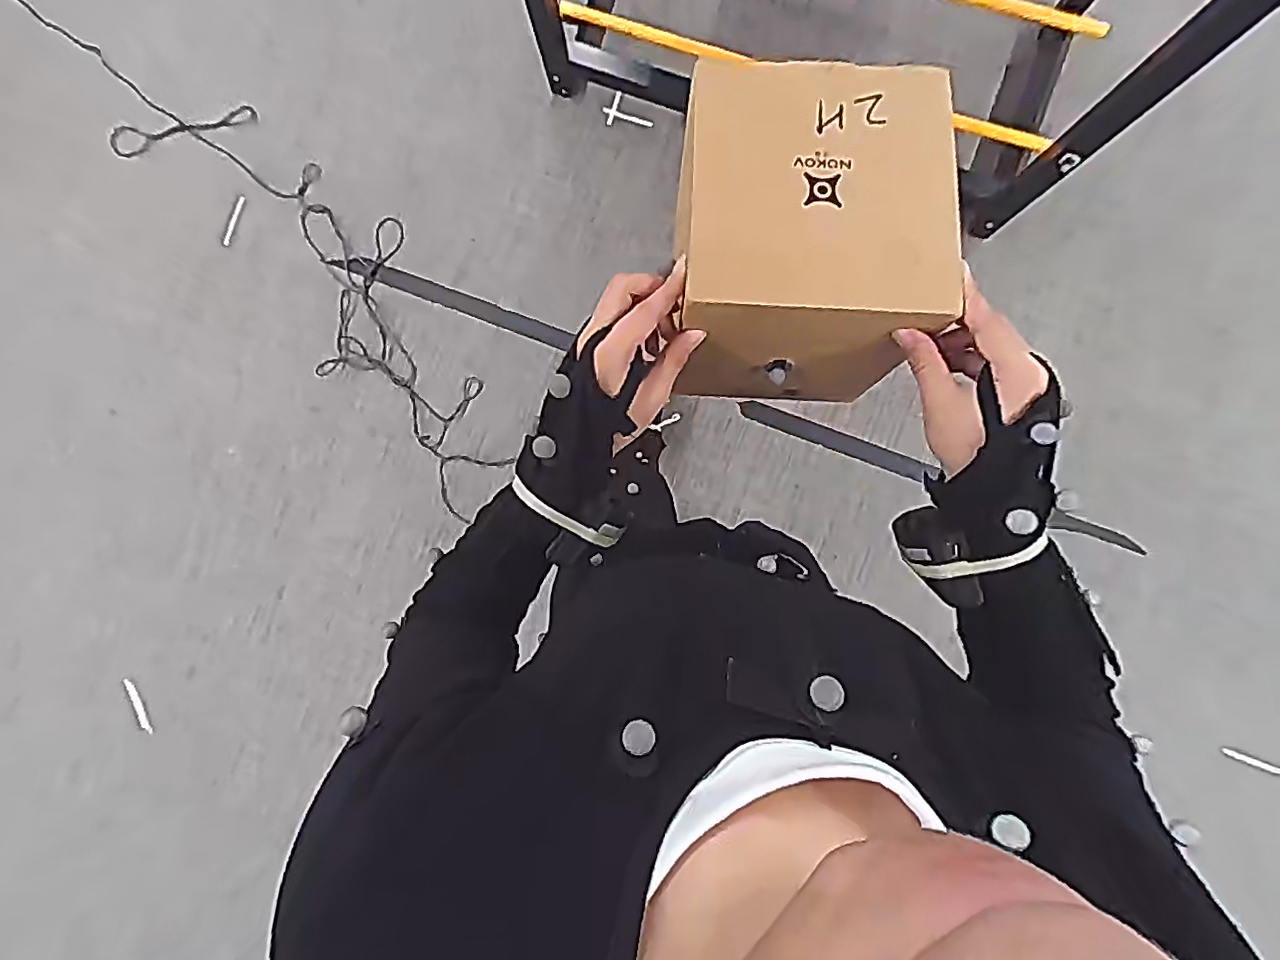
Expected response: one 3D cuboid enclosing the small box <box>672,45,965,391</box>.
[{"bbox_3d":[0.114,-0.177,0.411,0.168,0.176,0.179,3,79,-1],"label":"small box"}]
